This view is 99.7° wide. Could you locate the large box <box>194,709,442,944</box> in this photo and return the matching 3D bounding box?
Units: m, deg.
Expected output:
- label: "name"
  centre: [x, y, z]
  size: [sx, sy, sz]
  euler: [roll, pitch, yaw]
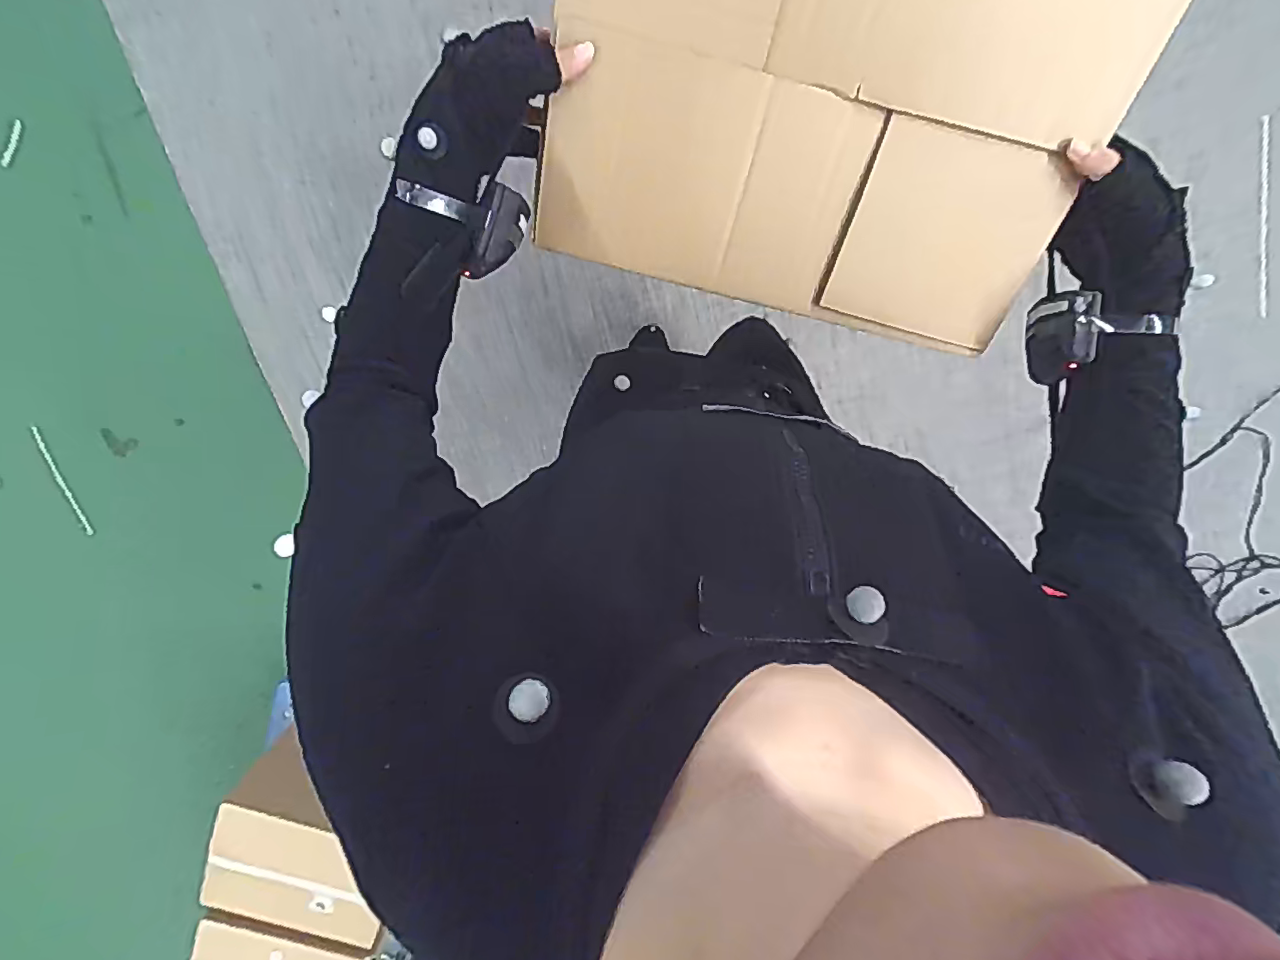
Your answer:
- label: "large box"
  centre: [-0.771, 0.840, 1.345]
  size: [0.408, 0.320, 0.320]
  euler: [20, 104, -6]
